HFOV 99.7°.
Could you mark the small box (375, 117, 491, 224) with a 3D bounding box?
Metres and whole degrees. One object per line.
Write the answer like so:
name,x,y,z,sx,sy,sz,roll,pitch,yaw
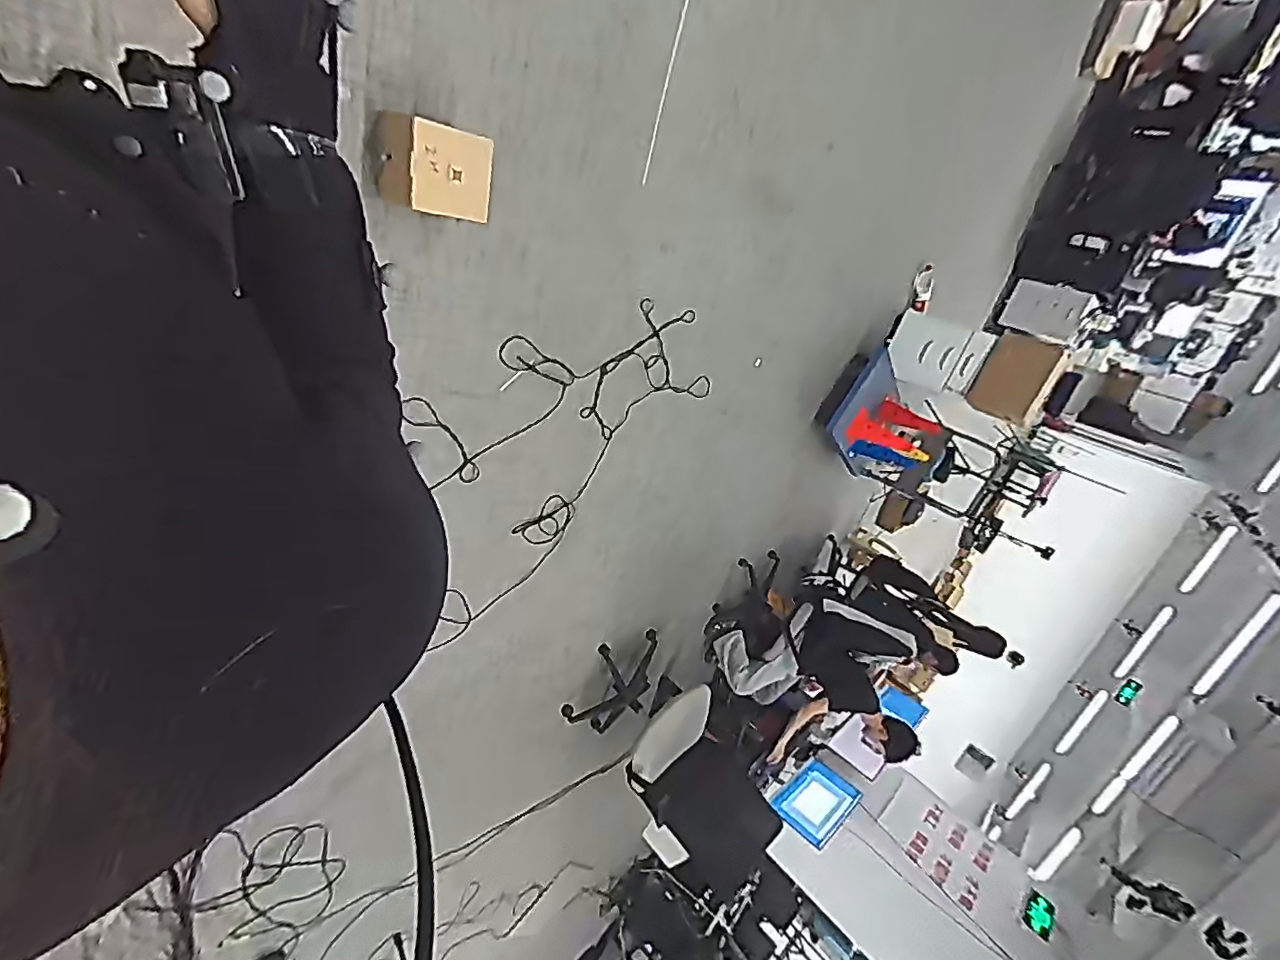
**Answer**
small box,-0.449,-0.669,1.169,0.179,0.176,0.168,-13,125,-44
